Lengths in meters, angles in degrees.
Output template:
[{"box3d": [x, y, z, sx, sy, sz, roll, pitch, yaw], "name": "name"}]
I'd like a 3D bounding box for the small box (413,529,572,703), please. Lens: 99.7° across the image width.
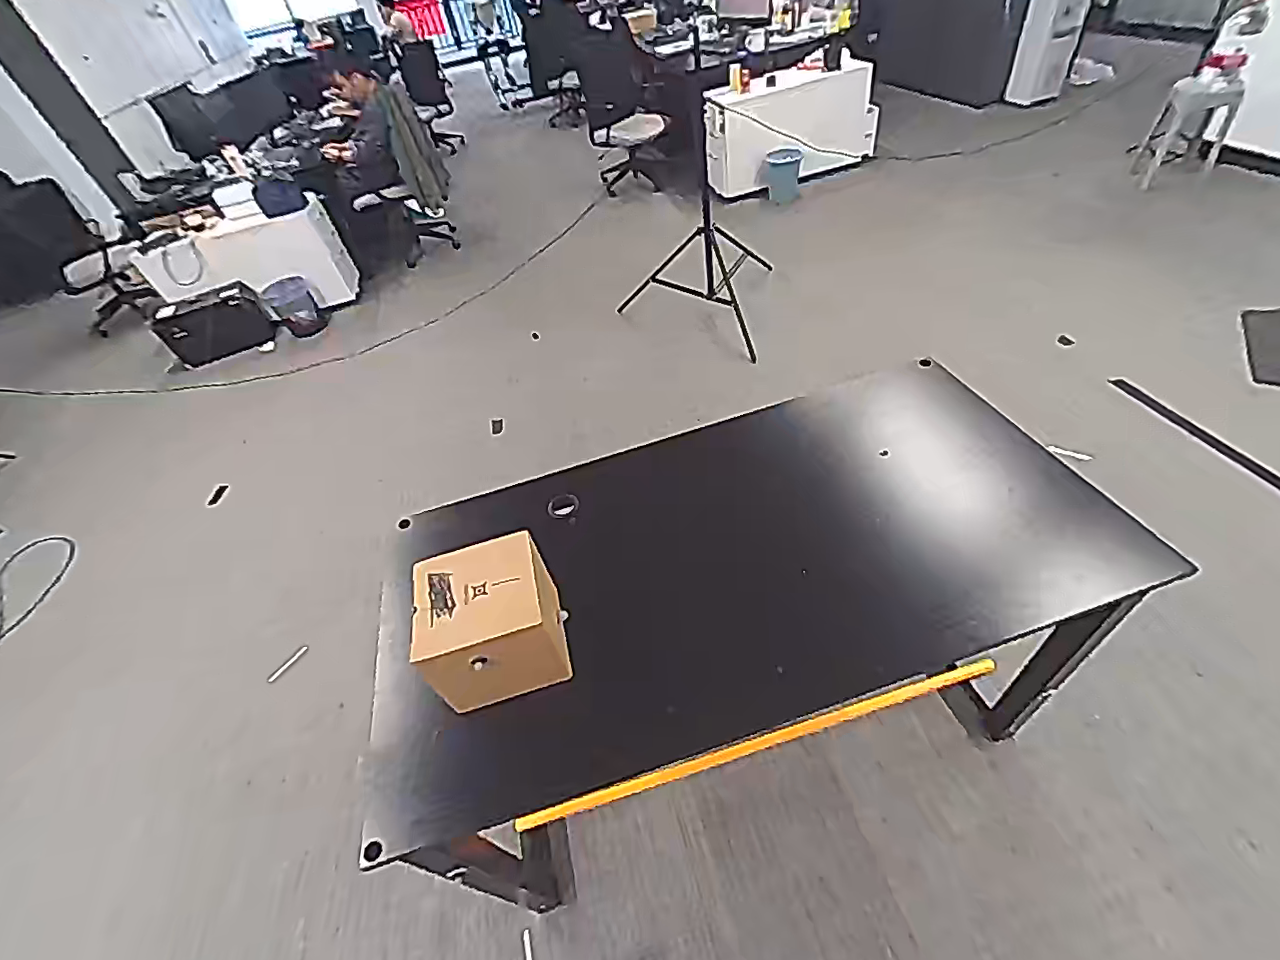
[{"box3d": [-0.215, 0.207, 0.809, 0.179, 0.176, 0.168, -16, 46, -5], "name": "small box"}]
